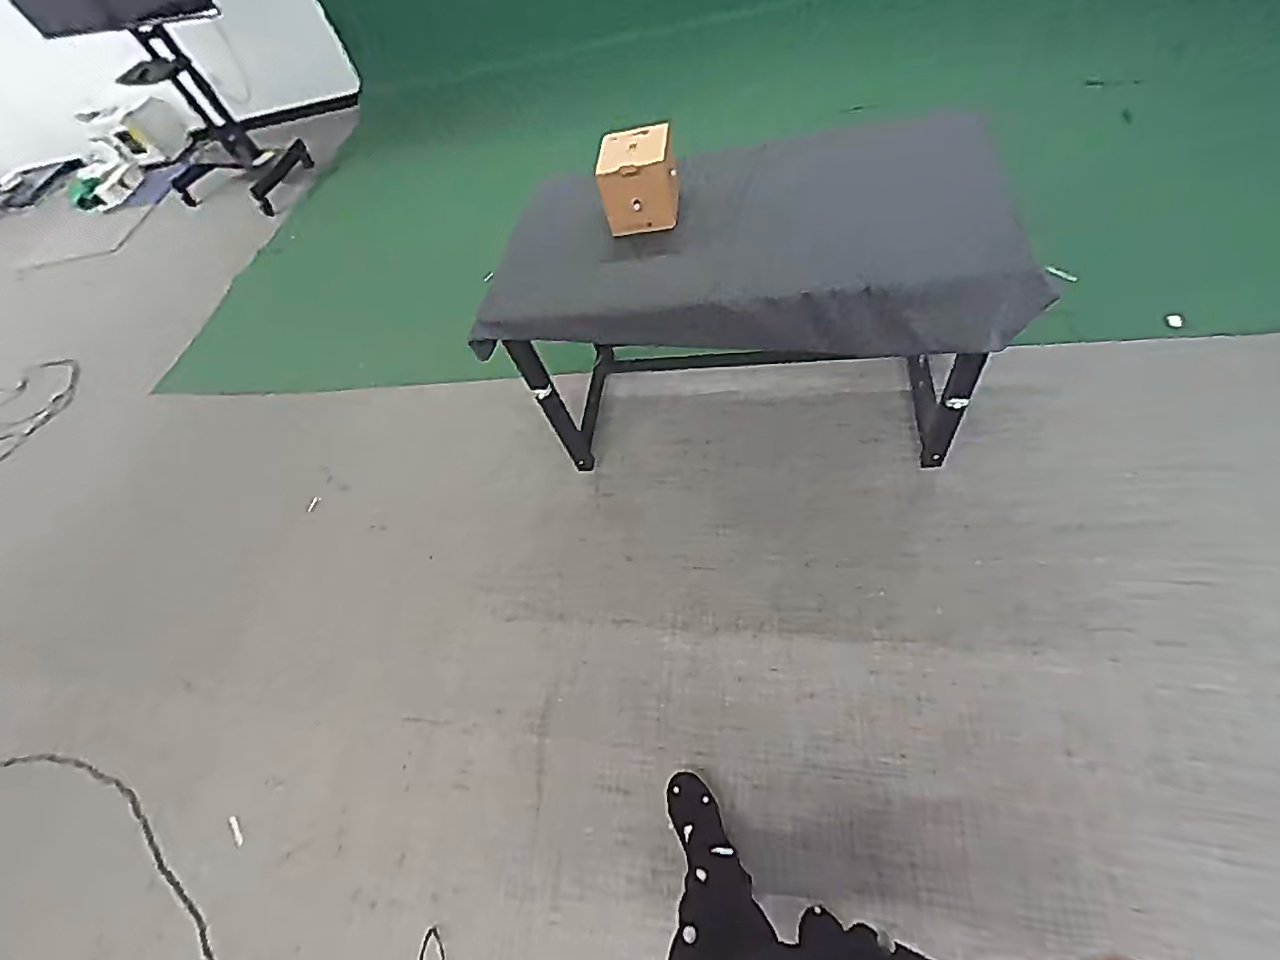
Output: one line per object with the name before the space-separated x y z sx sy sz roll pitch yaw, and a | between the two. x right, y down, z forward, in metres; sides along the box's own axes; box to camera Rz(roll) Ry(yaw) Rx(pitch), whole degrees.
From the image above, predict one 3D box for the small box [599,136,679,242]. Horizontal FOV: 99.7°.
small box | 0.005 -0.728 1.374 0.168 0.176 0.179 -6 56 13
